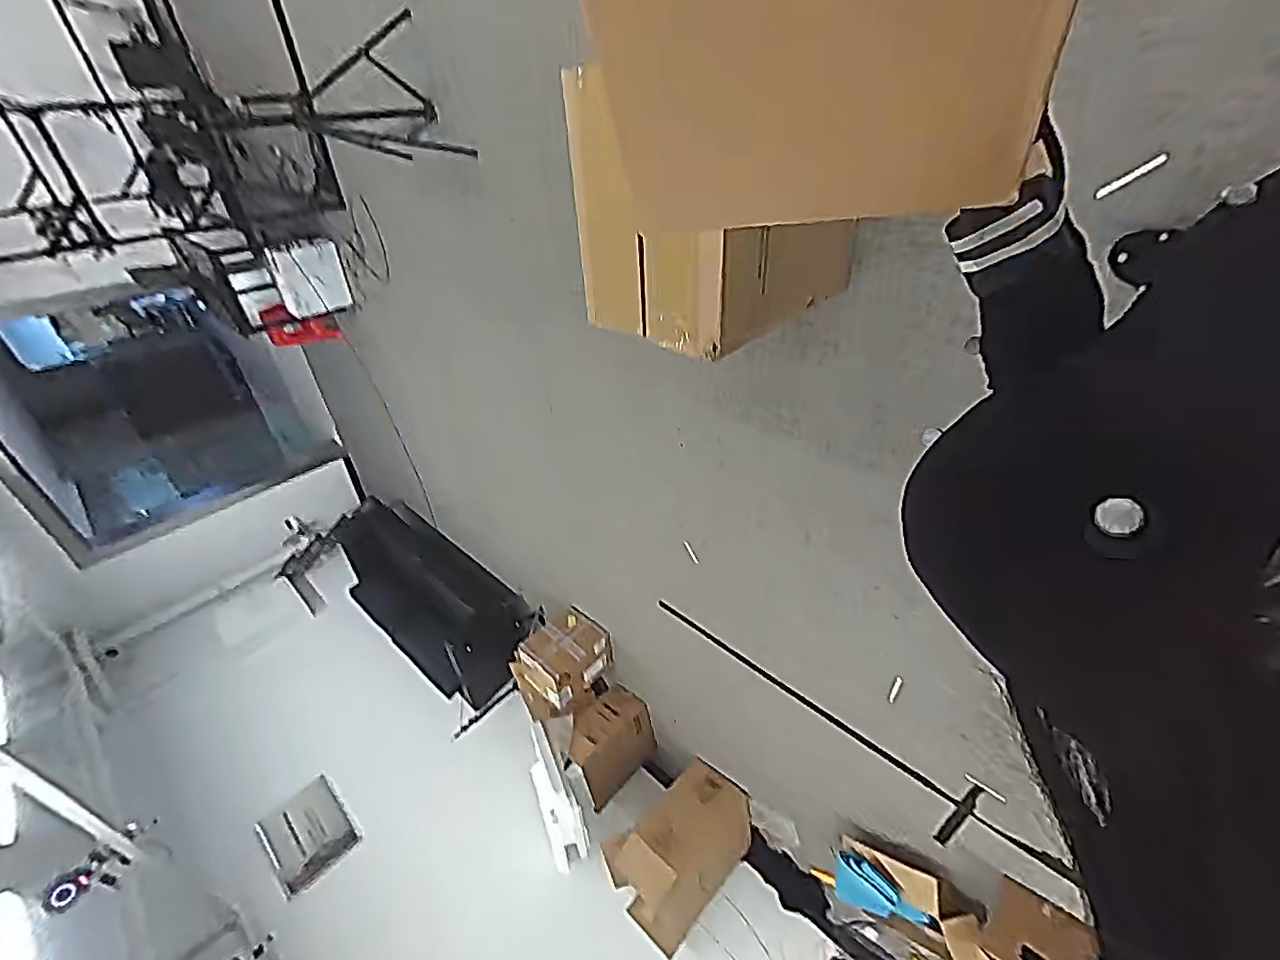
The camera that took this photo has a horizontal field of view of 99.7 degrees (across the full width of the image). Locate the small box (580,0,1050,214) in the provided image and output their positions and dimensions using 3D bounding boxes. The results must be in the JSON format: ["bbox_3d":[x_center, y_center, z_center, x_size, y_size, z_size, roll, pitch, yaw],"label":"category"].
[{"bbox_3d":[0.075,-0.244,0.223,0.168,0.179,0.176,5,146,22],"label":"small box"}]
